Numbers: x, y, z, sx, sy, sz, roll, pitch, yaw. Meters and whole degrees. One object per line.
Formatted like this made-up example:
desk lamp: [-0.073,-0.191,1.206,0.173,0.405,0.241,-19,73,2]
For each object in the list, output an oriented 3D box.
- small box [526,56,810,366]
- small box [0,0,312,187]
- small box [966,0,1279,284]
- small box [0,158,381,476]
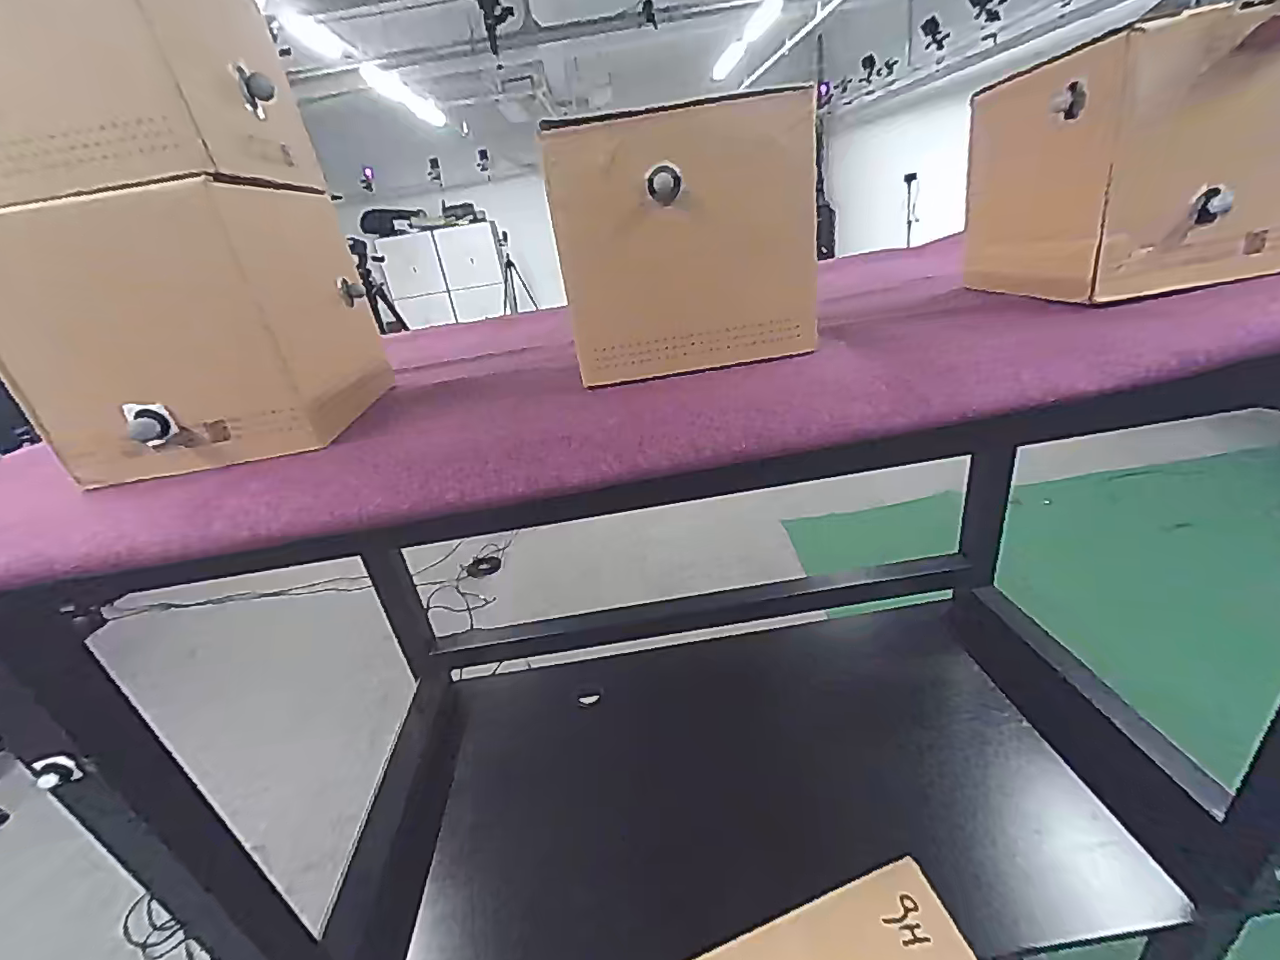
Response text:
small box: [0.025,-0.196,0.428,0.179,0.176,0.168,-9,25,1]
small box: [-0.348,-0.267,0.328,0.179,0.176,0.168,-12,27,-3]
small box: [0.380,-0.253,0.418,0.168,0.176,0.179,-10,24,4]
small box: [-0.317,-0.121,0.398,0.168,0.176,0.179,-12,27,-3]
